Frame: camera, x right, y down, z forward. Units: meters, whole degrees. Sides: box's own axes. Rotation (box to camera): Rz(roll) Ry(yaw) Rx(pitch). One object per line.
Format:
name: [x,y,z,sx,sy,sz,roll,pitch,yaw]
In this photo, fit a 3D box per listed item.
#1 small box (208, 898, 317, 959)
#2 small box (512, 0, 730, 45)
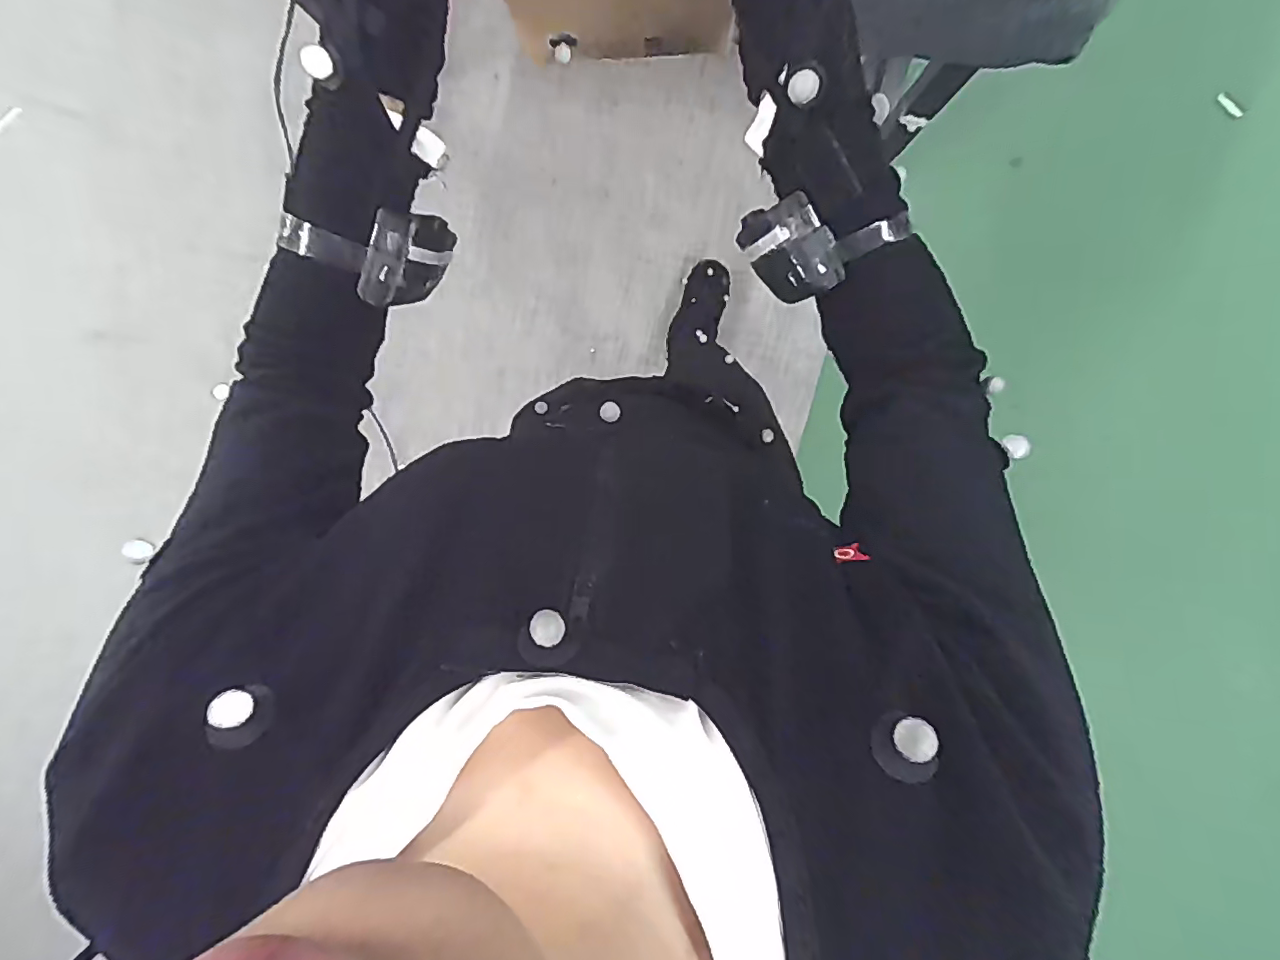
small box: [-0.968,1.224,1.380,0.179,0.176,0.168,20,101,0]
small box: [-0.018,-0.422,0.351,0.168,0.176,0.179,-2,100,3]
